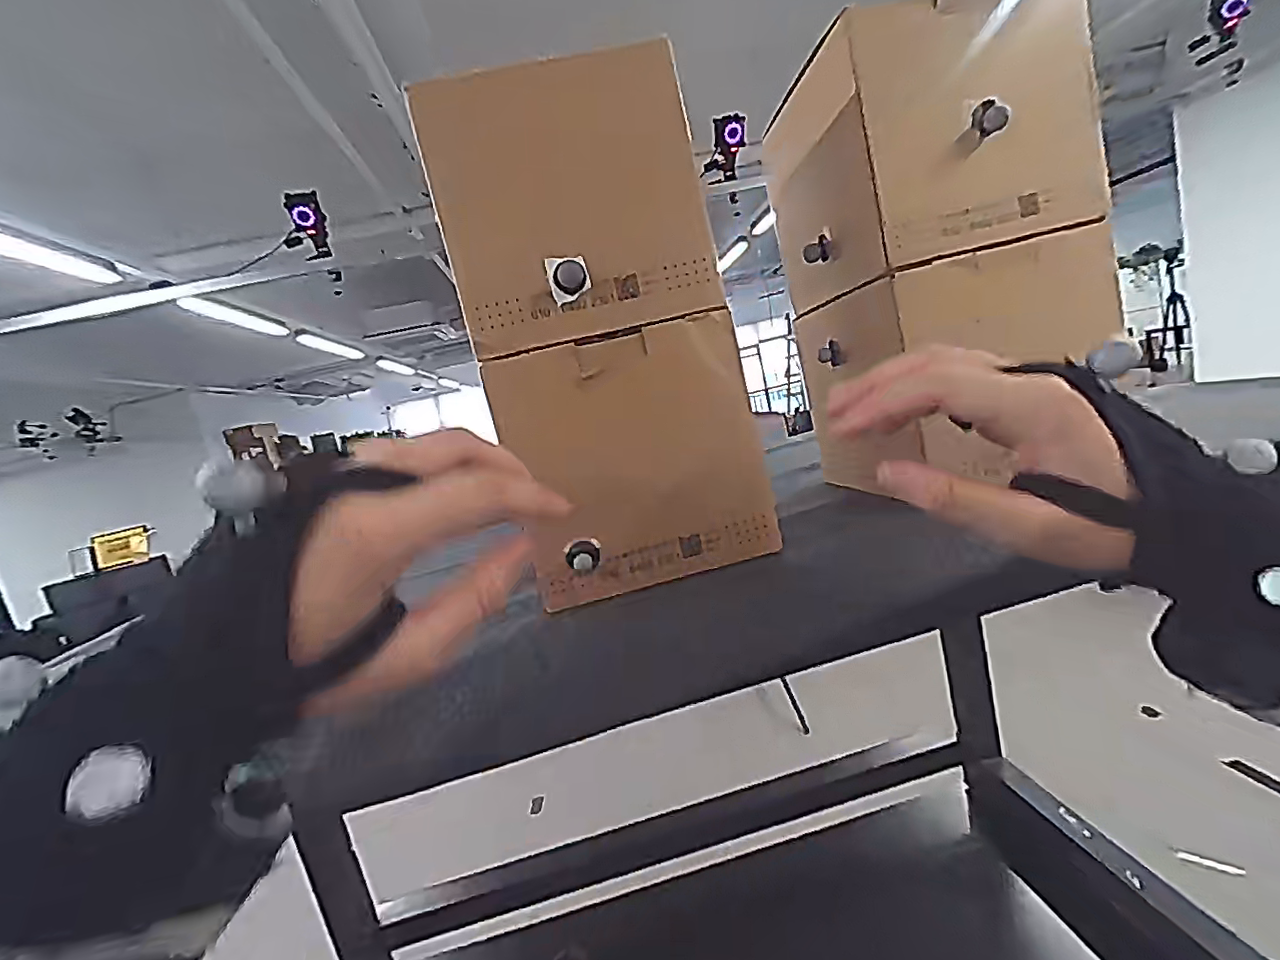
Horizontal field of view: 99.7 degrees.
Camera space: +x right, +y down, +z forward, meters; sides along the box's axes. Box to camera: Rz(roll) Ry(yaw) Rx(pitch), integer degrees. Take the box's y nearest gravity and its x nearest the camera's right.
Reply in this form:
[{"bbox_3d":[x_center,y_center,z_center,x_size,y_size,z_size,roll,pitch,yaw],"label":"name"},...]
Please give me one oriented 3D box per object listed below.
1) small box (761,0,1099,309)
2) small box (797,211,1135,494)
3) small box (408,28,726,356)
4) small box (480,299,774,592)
[{"bbox_3d":[0.217,-0.250,0.435,0.168,0.176,0.179,-14,8,-3],"label":"small box"},{"bbox_3d":[0.255,-0.092,0.455,0.168,0.176,0.179,-15,8,-4],"label":"small box"},{"bbox_3d":[-0.047,-0.180,0.411,0.168,0.176,0.179,-15,7,-4],"label":"small box"},{"bbox_3d":[-0.010,-0.023,0.429,0.168,0.176,0.179,-14,6,-5],"label":"small box"}]
